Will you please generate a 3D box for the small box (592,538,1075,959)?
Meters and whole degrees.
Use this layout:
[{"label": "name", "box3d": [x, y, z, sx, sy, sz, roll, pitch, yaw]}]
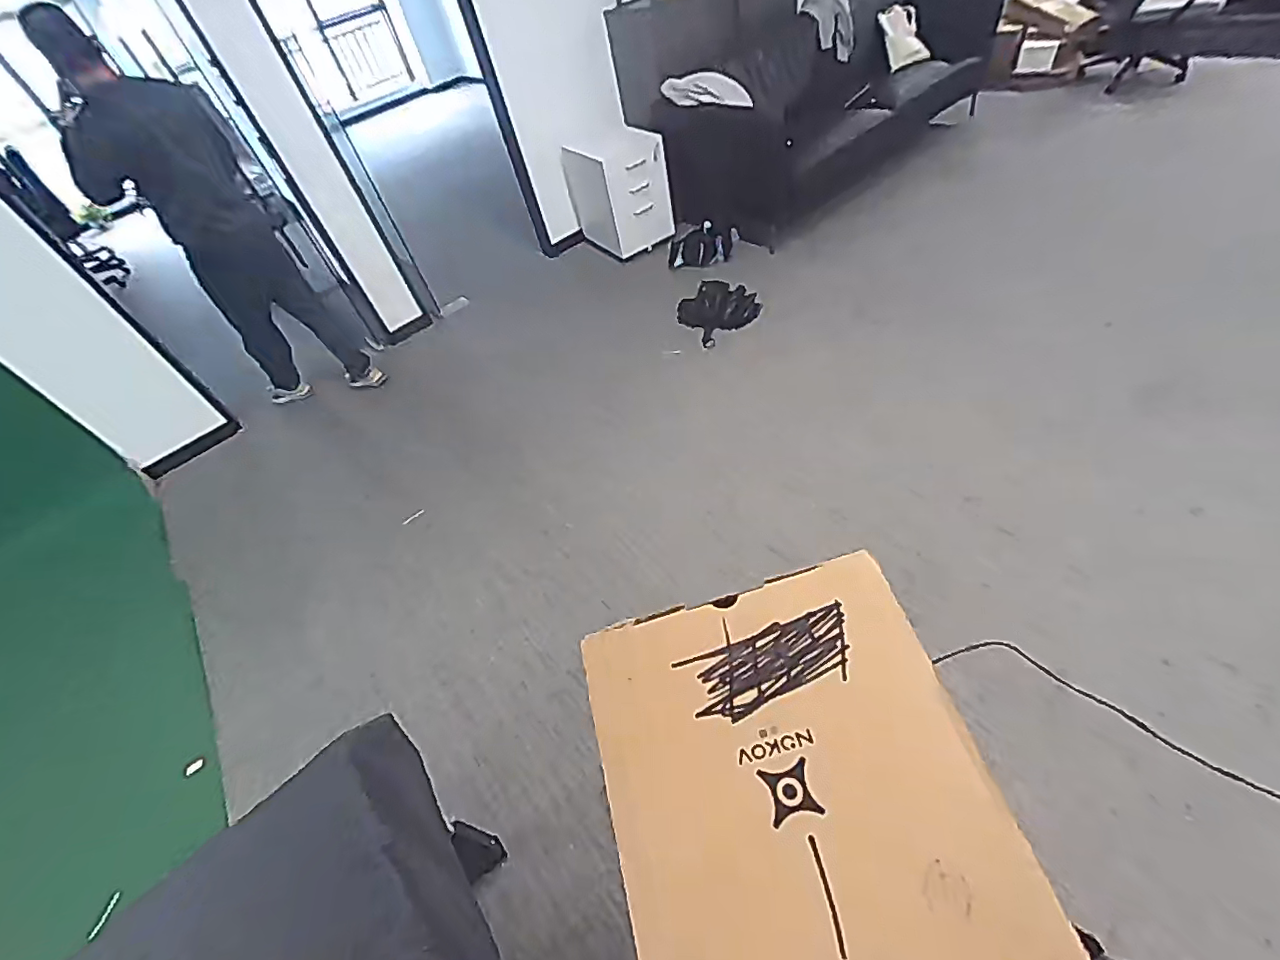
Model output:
[{"label": "small box", "box3d": [0.082, 0.164, 0.318, 0.168, 0.176, 0.179, -17, 57, 2]}]
